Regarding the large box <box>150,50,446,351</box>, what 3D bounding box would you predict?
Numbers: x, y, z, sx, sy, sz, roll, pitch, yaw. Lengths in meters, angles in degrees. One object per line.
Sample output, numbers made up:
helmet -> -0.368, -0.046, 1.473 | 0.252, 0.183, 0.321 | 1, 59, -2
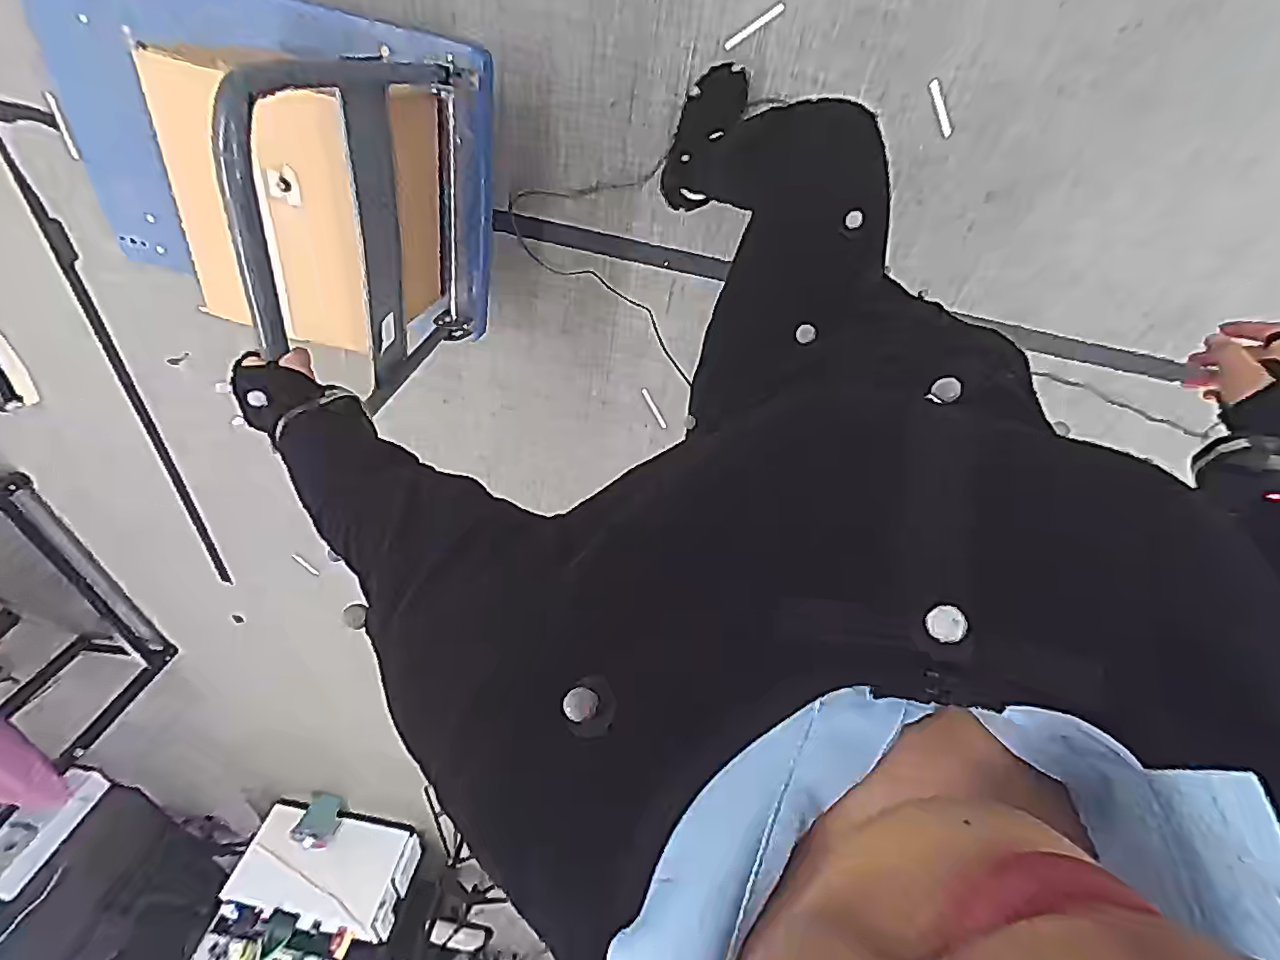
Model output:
large box -> -0.577, -0.514, 1.015 | 0.320, 0.320, 0.408 | 14, 127, -2
